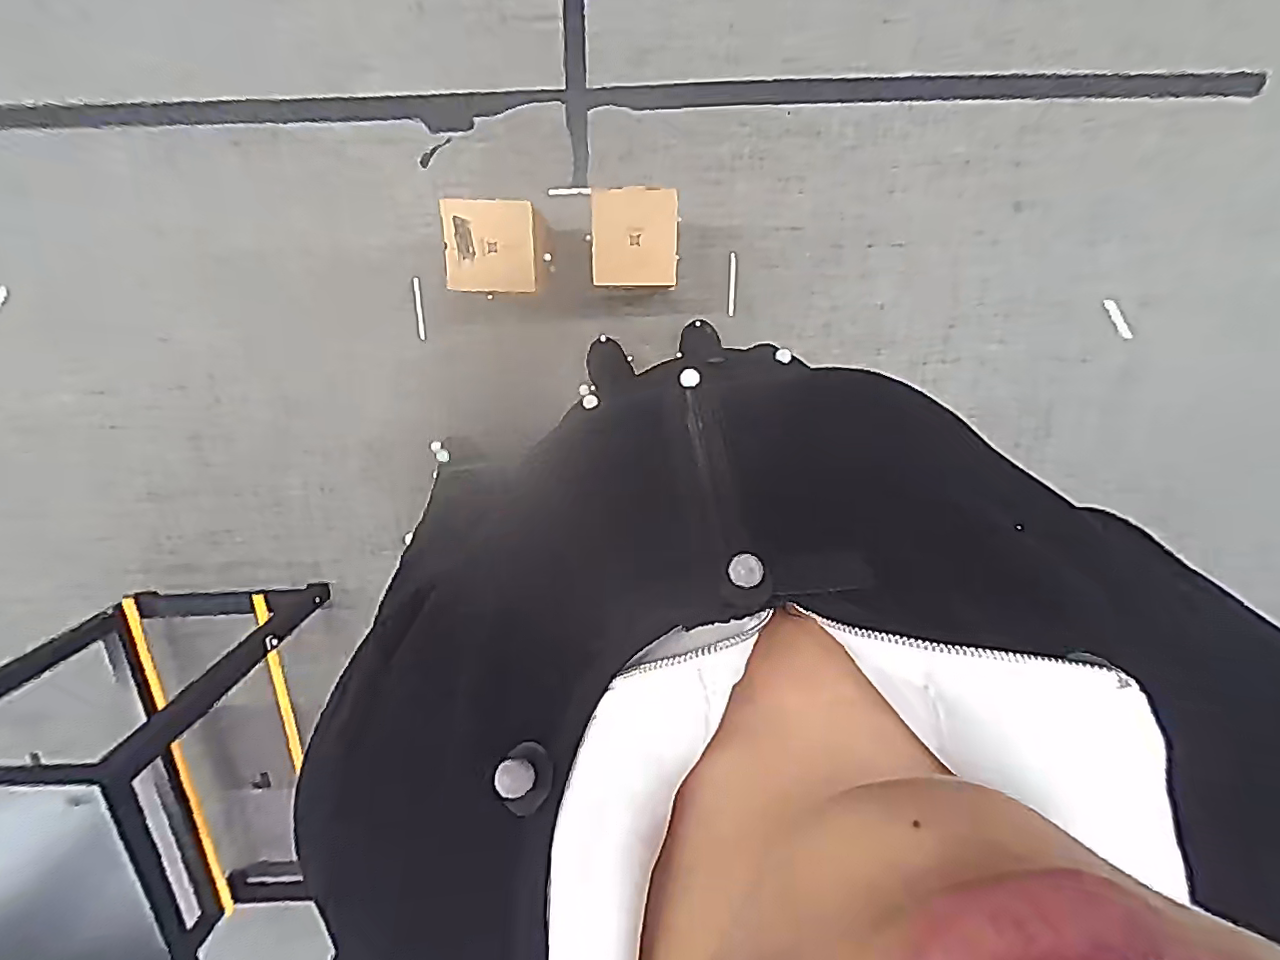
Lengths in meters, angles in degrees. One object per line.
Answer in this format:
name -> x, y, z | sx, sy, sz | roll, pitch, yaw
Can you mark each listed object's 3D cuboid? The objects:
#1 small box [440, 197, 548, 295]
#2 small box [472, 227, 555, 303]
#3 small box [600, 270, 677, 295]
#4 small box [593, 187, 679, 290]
small box -> -0.291, -0.470, 1.110 | 0.179, 0.176, 0.168 | 1, 107, -1
small box -> -0.294, -0.512, 1.270 | 0.168, 0.176, 0.179 | 2, 108, 0
small box -> -0.008, -0.525, 1.270 | 0.179, 0.176, 0.168 | -2, 107, 0
small box -> -0.011, -0.488, 1.111 | 0.168, 0.176, 0.179 | 0, 109, 0
